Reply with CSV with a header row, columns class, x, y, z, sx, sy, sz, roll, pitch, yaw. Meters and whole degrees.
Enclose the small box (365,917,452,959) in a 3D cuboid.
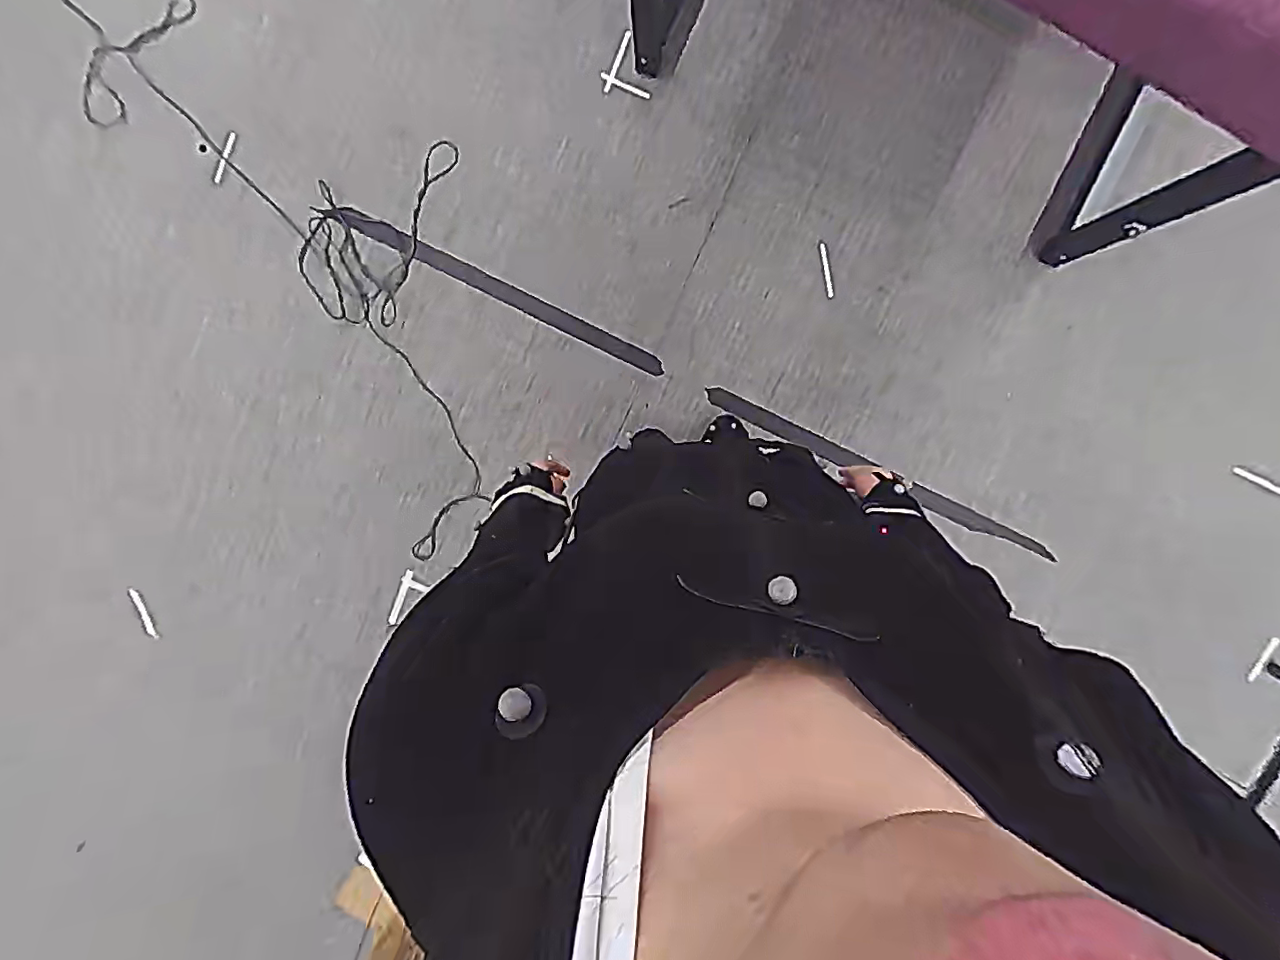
class,x,y,z,sx,sy,sz,roll,pitch,yaw
small box,-0.501,1.042,1.082,0.168,0.176,0.179,30,96,-1
